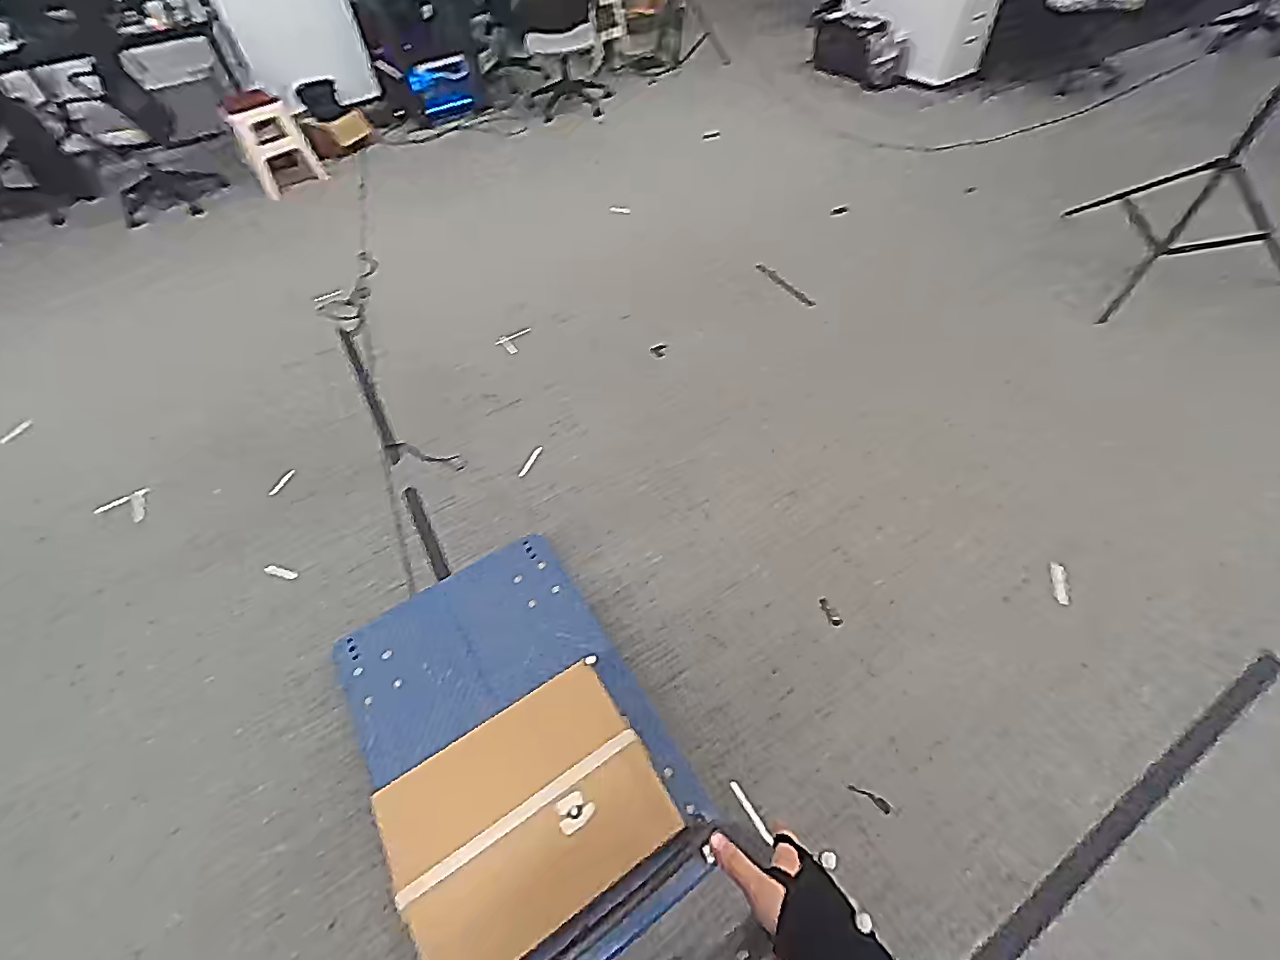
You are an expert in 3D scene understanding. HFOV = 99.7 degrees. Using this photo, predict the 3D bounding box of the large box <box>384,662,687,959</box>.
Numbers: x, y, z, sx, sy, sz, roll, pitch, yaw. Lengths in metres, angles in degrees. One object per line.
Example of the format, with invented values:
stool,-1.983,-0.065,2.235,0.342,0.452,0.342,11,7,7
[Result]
large box,-0.167,0.615,0.981,0.408,0.320,0.320,-29,60,-18
